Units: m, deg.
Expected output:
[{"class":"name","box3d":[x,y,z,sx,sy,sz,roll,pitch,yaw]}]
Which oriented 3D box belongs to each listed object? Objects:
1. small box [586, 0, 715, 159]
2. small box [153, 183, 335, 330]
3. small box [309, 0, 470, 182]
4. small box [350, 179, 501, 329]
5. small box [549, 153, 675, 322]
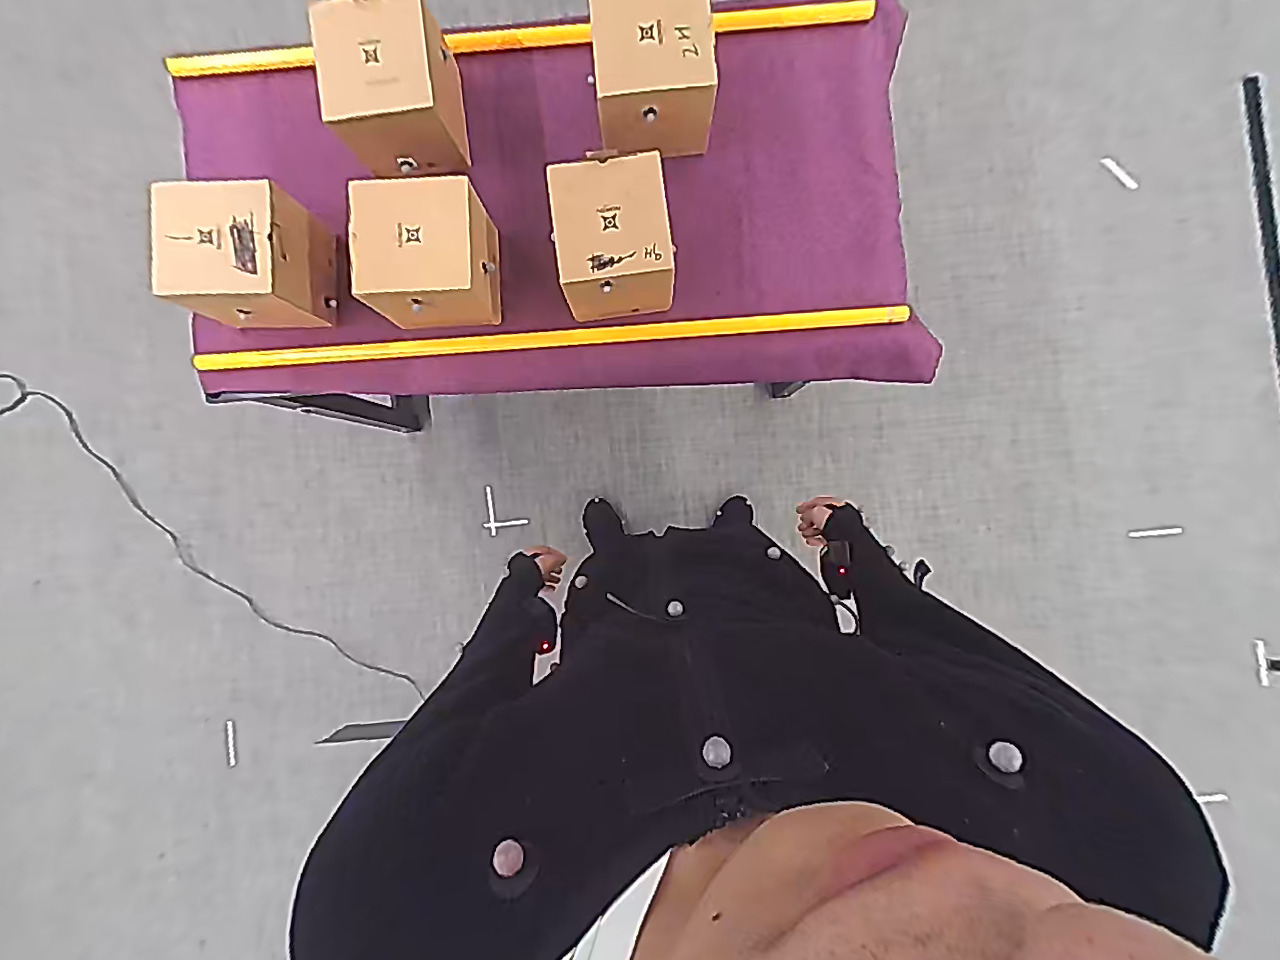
[{"class":"small box","box3d":[0.018,-0.630,0.846,0.179,0.176,0.168,-5,91,1]},{"class":"small box","box3d":[-0.607,-0.341,0.852,0.179,0.176,0.168,0,89,1]},{"class":"small box","box3d":[-0.383,-0.609,0.853,0.168,0.176,0.179,-7,90,2]},{"class":"small box","box3d":[-0.323,-0.344,0.849,0.179,0.176,0.168,-2,89,2]},{"class":"small box","box3d":[-0.039,-0.366,0.844,0.168,0.176,0.179,-7,87,1]}]
